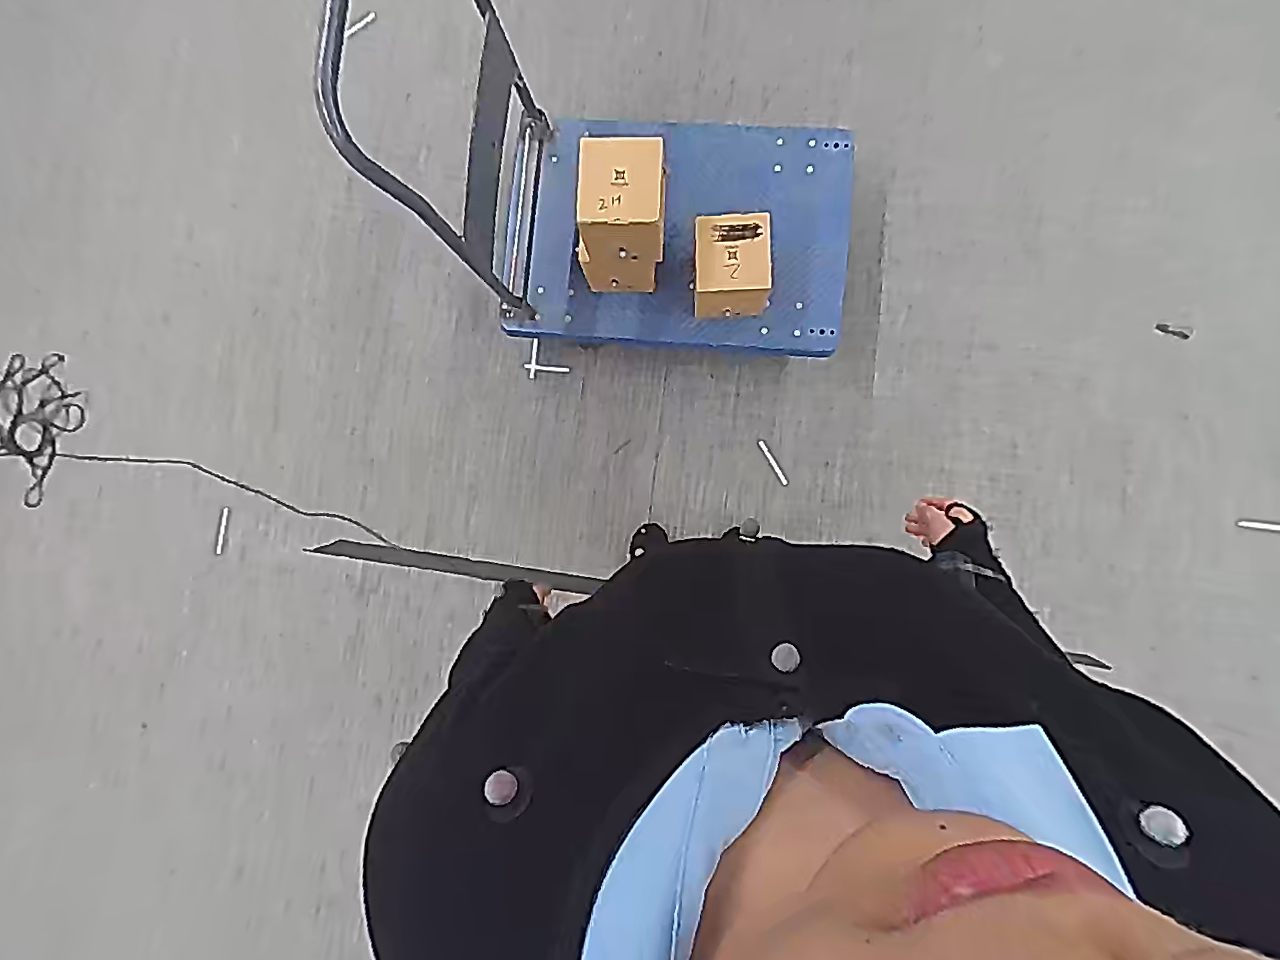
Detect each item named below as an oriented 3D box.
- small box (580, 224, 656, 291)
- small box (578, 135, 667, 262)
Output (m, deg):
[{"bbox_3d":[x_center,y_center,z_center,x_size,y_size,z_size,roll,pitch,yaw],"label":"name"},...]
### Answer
[{"bbox_3d":[-0.045,-0.573,1.296,0.168,0.176,0.179,2,87,4],"label":"small box"},{"bbox_3d":[-0.031,-0.582,1.130,0.168,0.176,0.179,2,87,4],"label":"small box"}]
